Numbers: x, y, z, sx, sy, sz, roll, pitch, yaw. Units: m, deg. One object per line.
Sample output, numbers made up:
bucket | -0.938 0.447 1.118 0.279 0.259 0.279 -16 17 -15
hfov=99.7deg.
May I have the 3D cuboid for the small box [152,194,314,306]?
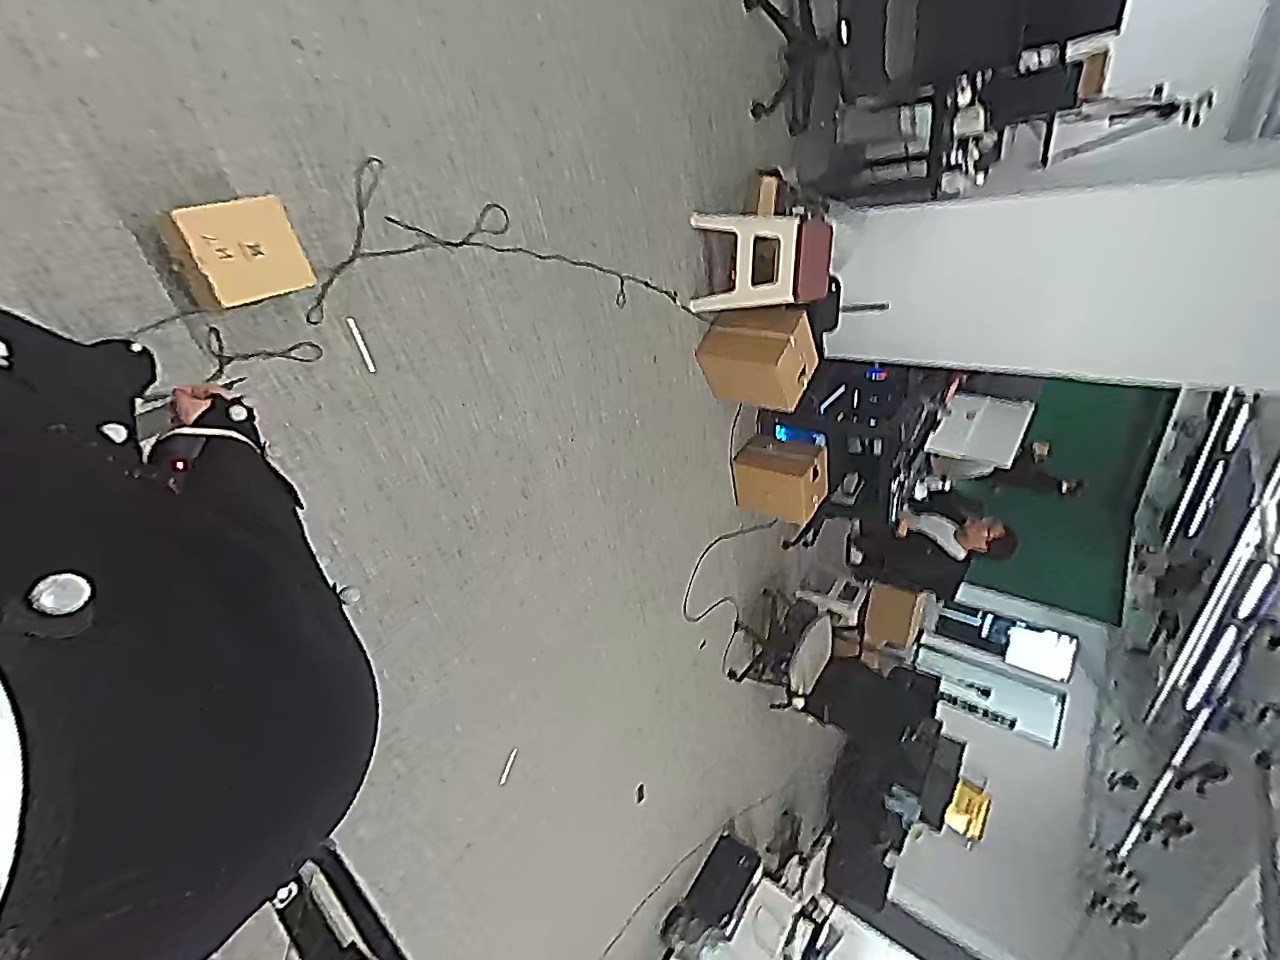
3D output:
small box | -0.776 -0.438 1.036 0.179 0.176 0.168 -37 127 -39
